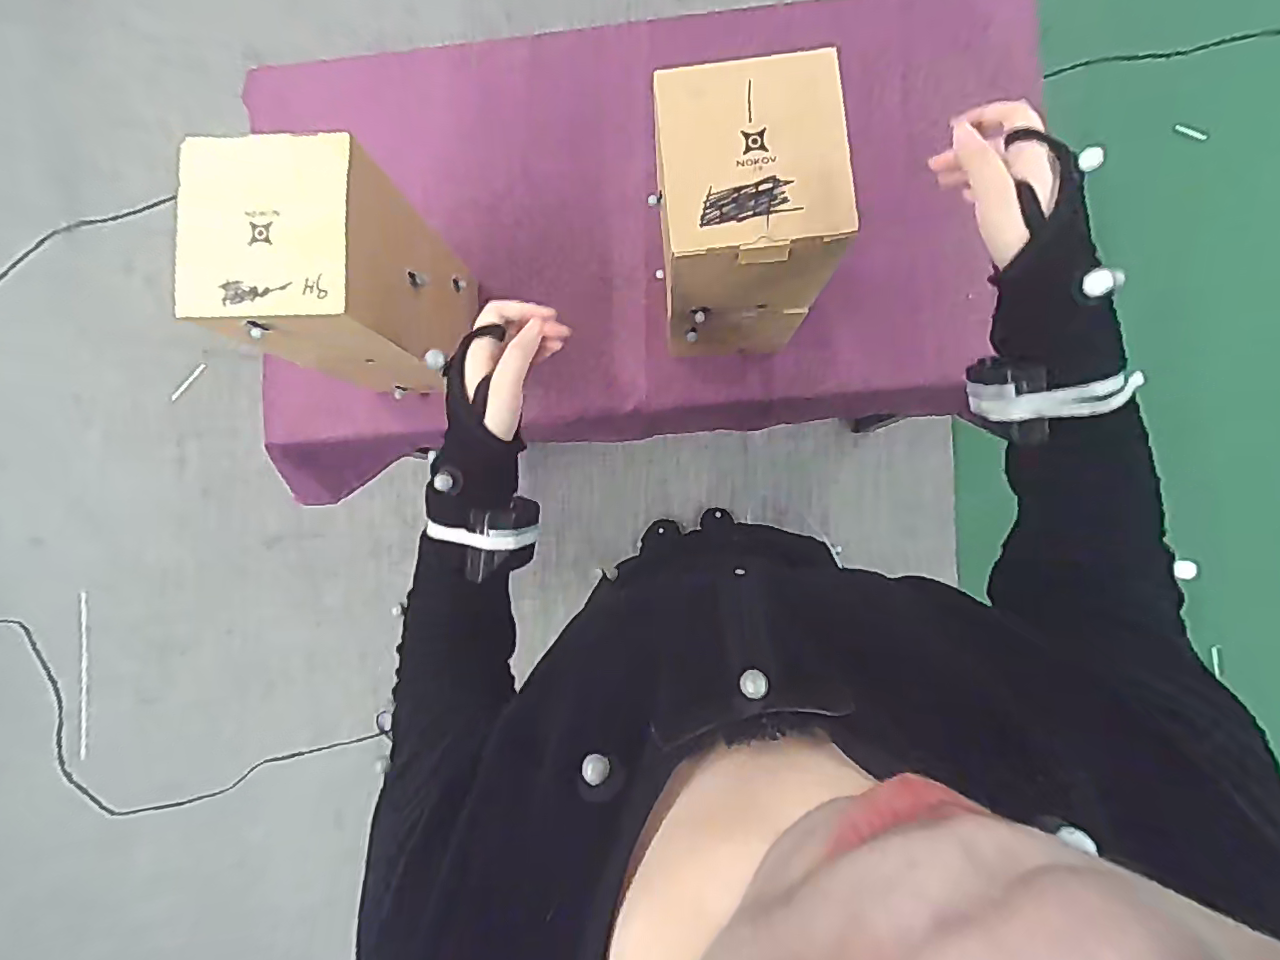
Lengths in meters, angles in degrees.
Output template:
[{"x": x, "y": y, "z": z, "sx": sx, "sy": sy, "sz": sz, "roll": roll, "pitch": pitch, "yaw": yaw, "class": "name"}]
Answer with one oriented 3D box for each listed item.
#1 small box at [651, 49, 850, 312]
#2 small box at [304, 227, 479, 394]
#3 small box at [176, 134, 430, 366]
[{"x": 0.102, "y": -0.287, "z": 0.561, "sx": 0.168, "sy": 0.176, "sz": 0.179, "roll": -5, "pitch": 85, "yaw": 3, "class": "small box"}, {"x": -0.333, "y": -0.224, "z": 0.750, "sx": 0.168, "sy": 0.176, "sz": 0.179, "roll": 0, "pitch": 88, "yaw": 4, "class": "small box"}, {"x": -0.344, "y": -0.233, "z": 0.585, "sx": 0.168, "sy": 0.176, "sz": 0.179, "roll": 0, "pitch": 86, "yaw": 5, "class": "small box"}]
